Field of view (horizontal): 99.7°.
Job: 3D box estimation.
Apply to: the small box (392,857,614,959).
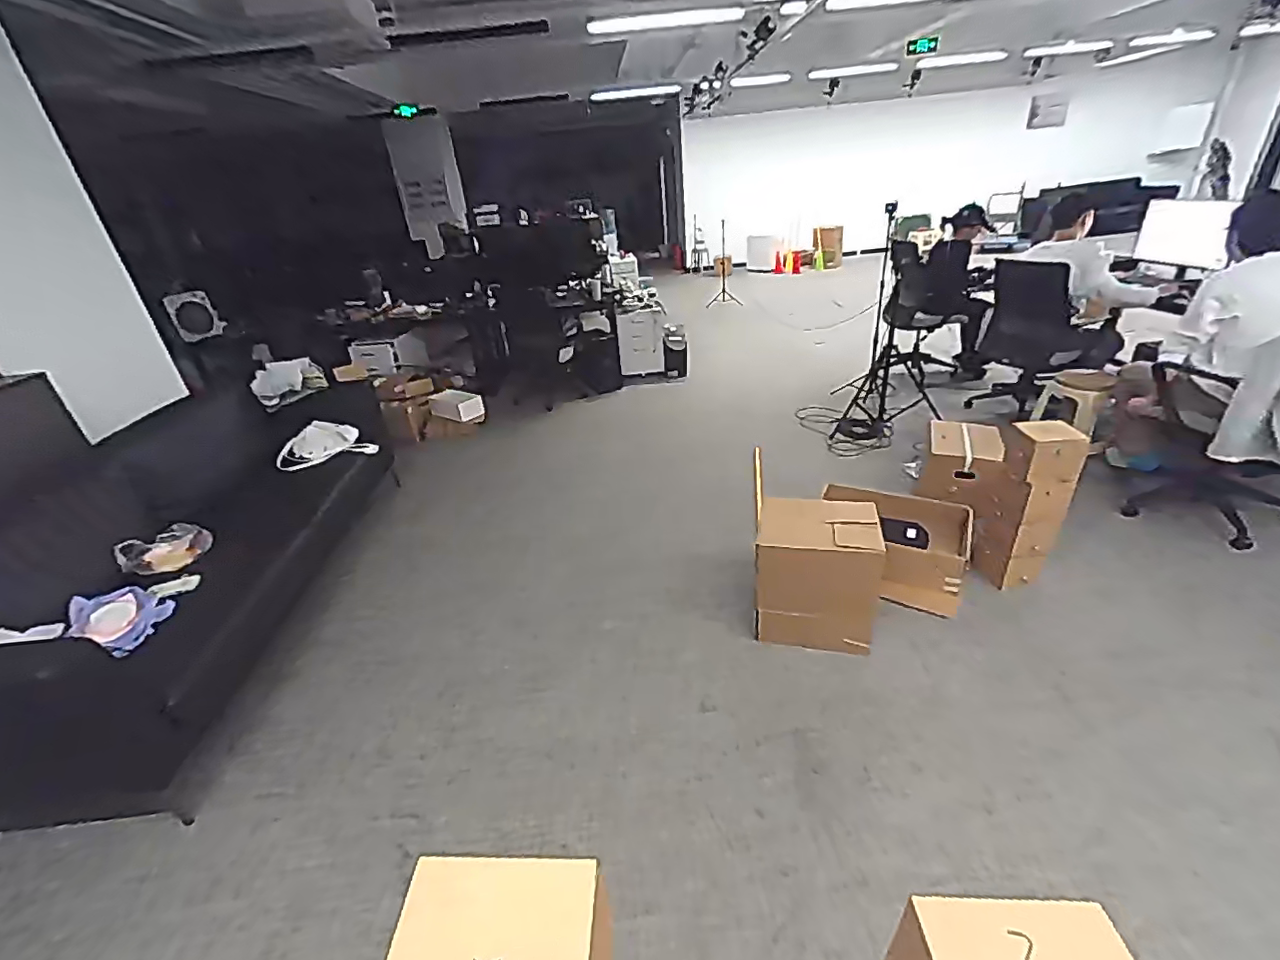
[{"bbox_3d":[-0.114,0.456,0.462,0.168,0.176,0.179,-1,37,4],"label":"small box"}]
